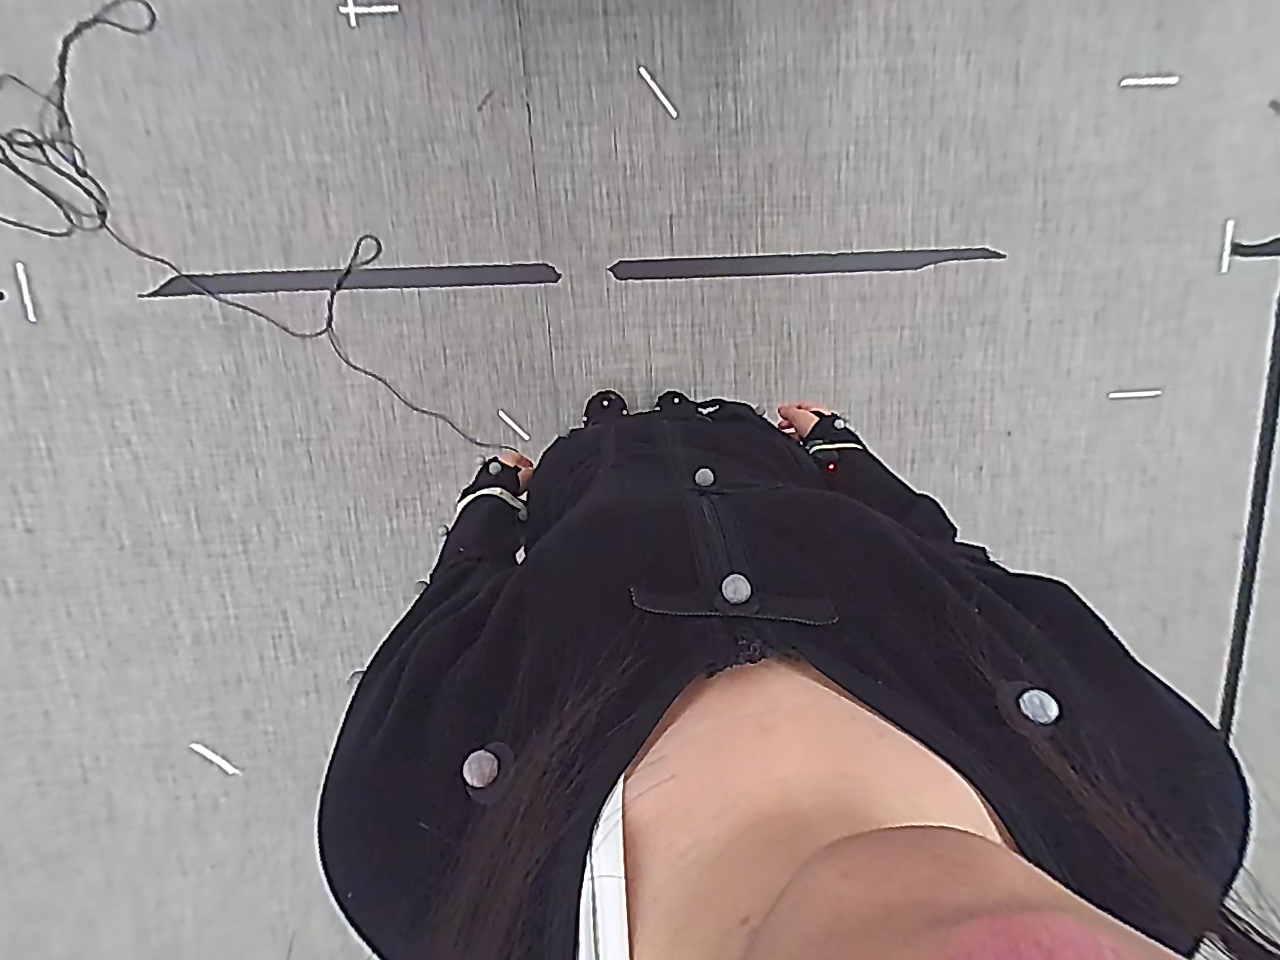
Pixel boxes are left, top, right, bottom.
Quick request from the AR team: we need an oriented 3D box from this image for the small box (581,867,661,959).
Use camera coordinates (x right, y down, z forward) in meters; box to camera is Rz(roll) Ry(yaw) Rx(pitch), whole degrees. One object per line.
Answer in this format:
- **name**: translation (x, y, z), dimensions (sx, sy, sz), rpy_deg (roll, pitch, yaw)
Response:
- **small box**: translation (-0.046, 1.067, 1.293), dimensions (0.179, 0.176, 0.168), rpy_deg (-5, 98, -2)
